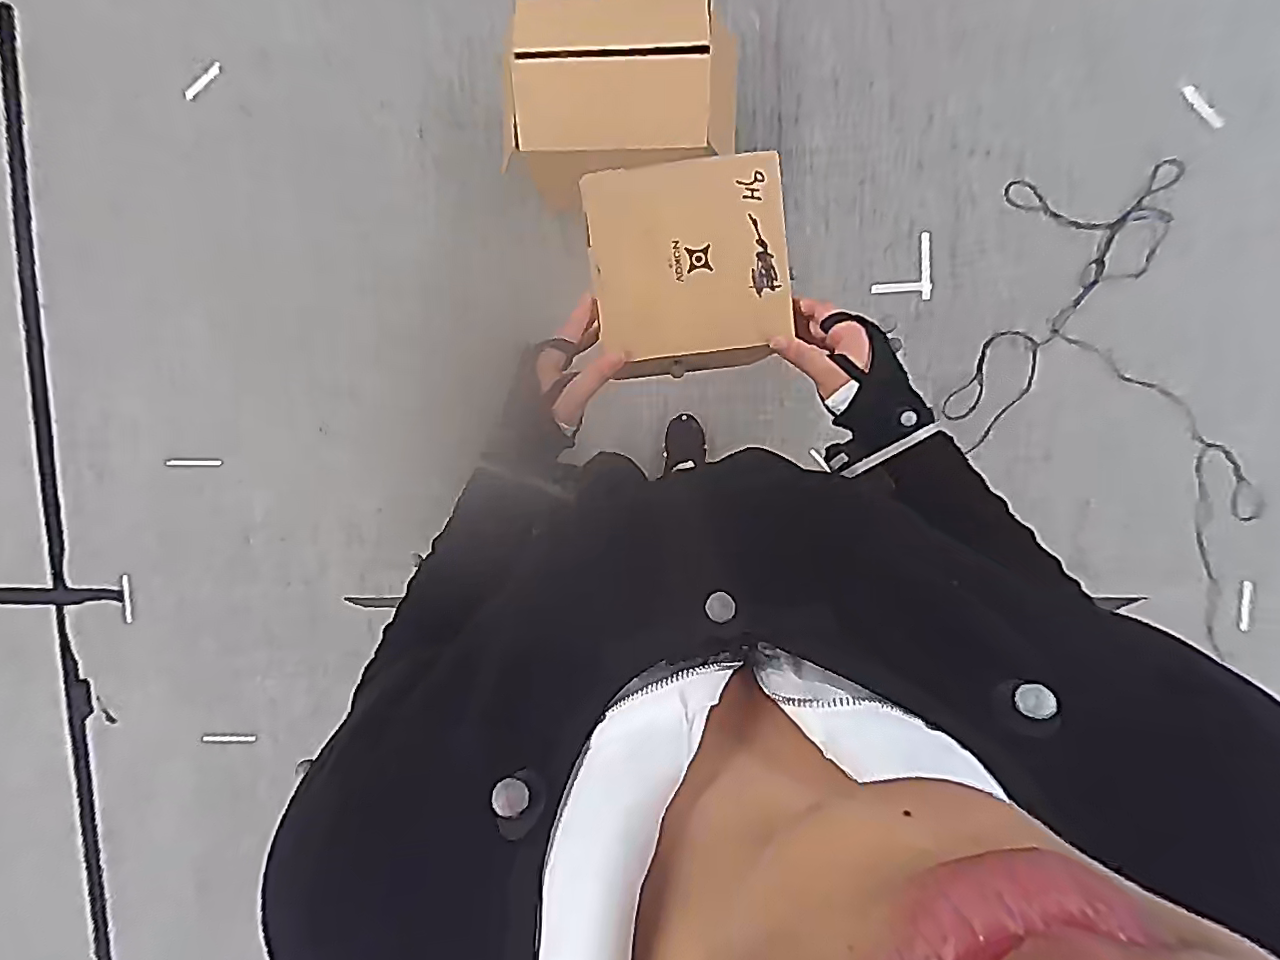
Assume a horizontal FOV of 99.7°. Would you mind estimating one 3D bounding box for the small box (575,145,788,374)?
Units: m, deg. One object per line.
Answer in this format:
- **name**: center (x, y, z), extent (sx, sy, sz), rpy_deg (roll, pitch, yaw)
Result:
- **small box**: center (0.039, -0.208, 0.558), extent (0.179, 0.176, 0.168), rpy_deg (-7, 95, 1)
